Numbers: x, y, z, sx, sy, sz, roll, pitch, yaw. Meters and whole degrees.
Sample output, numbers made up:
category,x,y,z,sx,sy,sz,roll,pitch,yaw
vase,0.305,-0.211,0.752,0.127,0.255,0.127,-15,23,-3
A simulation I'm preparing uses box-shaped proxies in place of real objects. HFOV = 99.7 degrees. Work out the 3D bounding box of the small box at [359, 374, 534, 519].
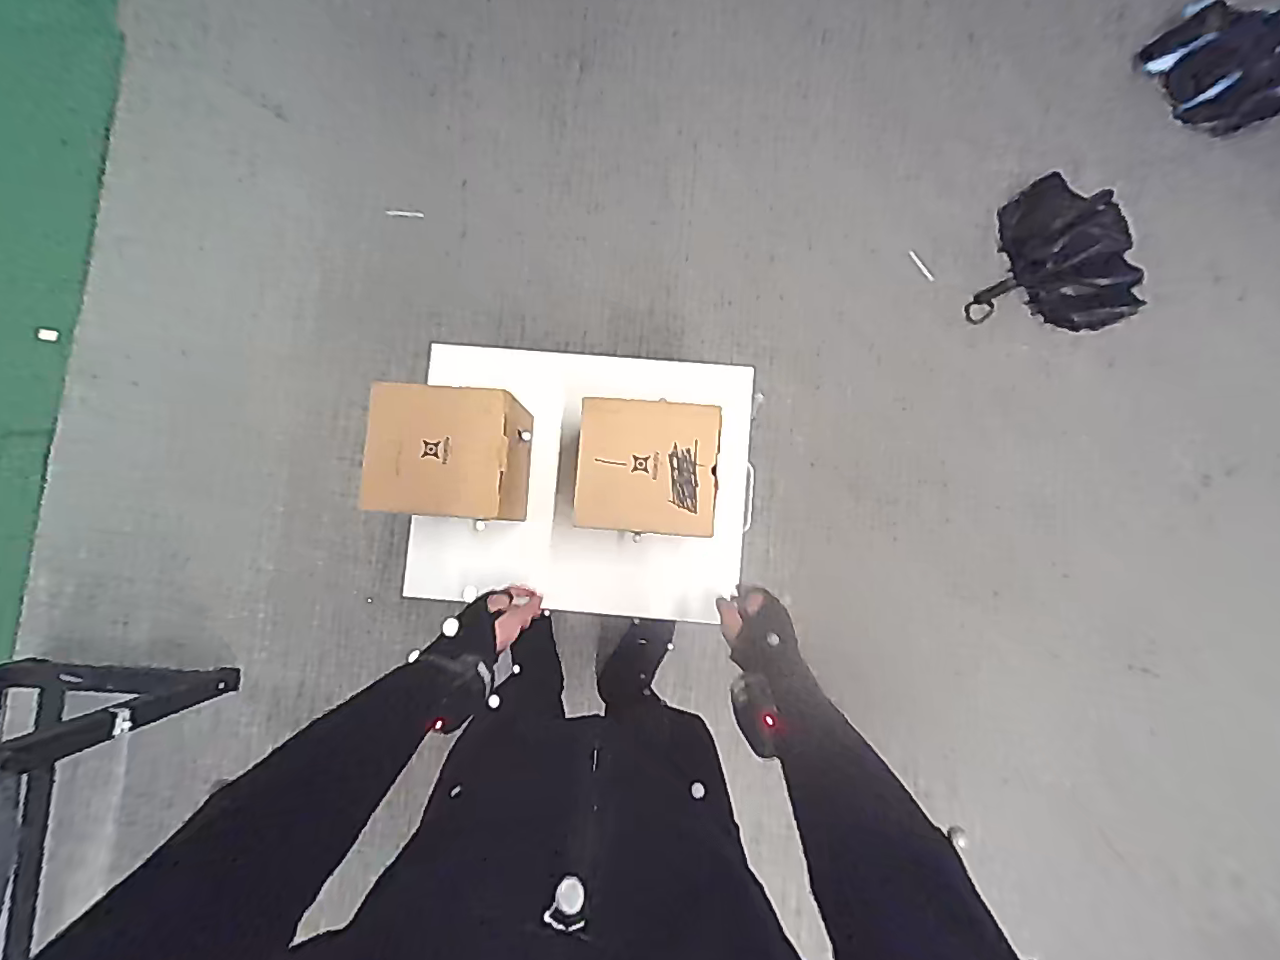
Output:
category,x,y,z,sx,sy,sz,roll,pitch,yaw
small box,-0.249,-0.036,0.741,0.179,0.176,0.168,4,83,0

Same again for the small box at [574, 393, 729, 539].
category,x,y,z,sx,sy,sz,roll,pitch,yaw
small box,0.016,-0.012,0.738,0.179,0.176,0.168,6,84,2
